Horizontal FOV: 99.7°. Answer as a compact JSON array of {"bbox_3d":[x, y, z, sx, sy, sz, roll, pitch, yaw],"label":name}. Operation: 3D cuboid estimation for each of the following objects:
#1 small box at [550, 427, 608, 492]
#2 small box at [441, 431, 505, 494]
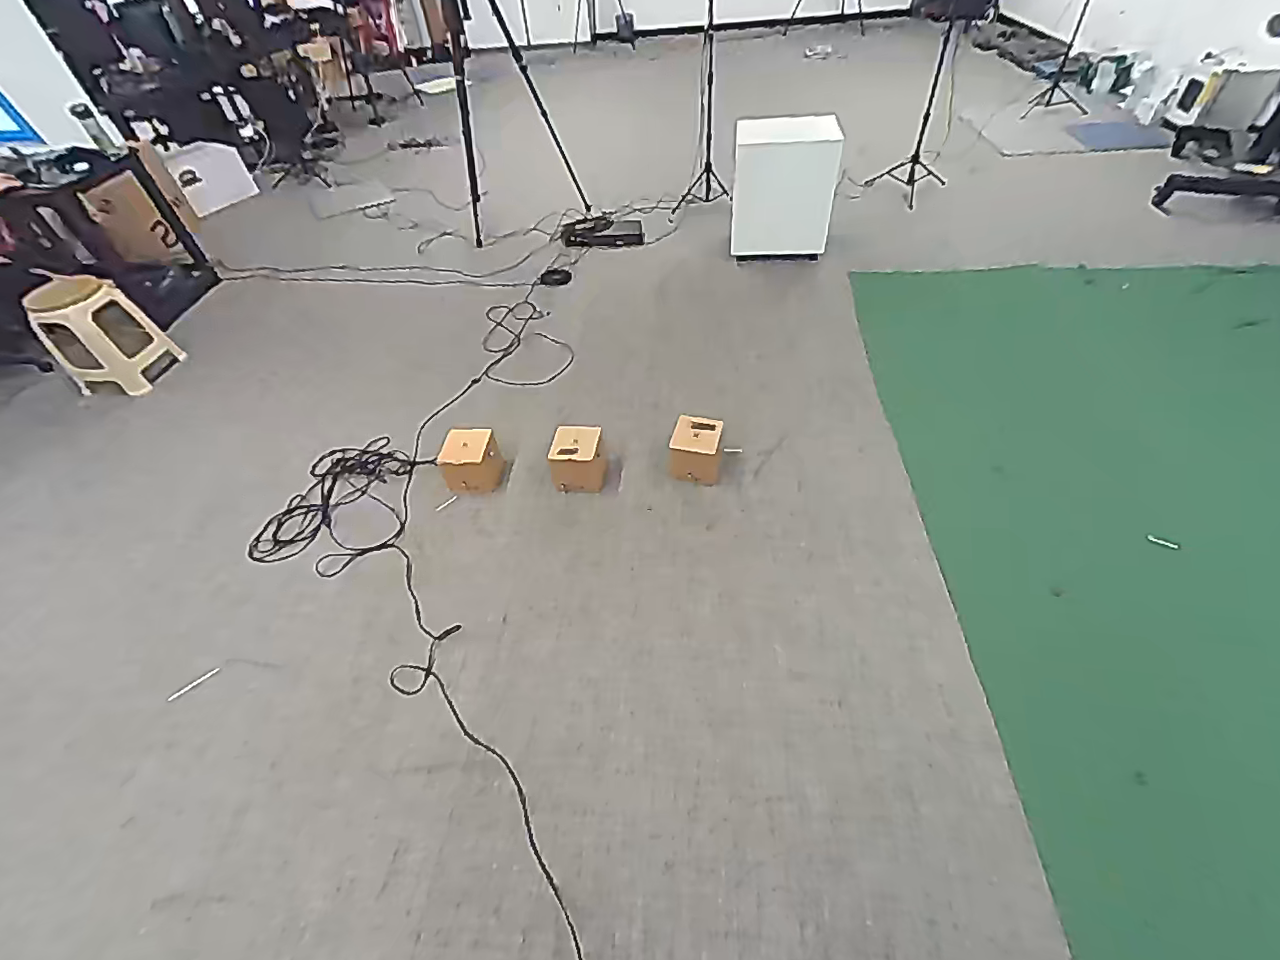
[{"bbox_3d":[-0.217,-0.073,1.991,0.168,0.176,0.179,3,48,9],"label":"small box"},{"bbox_3d":[-0.619,-0.067,2.029,0.168,0.176,0.179,-1,48,6],"label":"small box"}]
